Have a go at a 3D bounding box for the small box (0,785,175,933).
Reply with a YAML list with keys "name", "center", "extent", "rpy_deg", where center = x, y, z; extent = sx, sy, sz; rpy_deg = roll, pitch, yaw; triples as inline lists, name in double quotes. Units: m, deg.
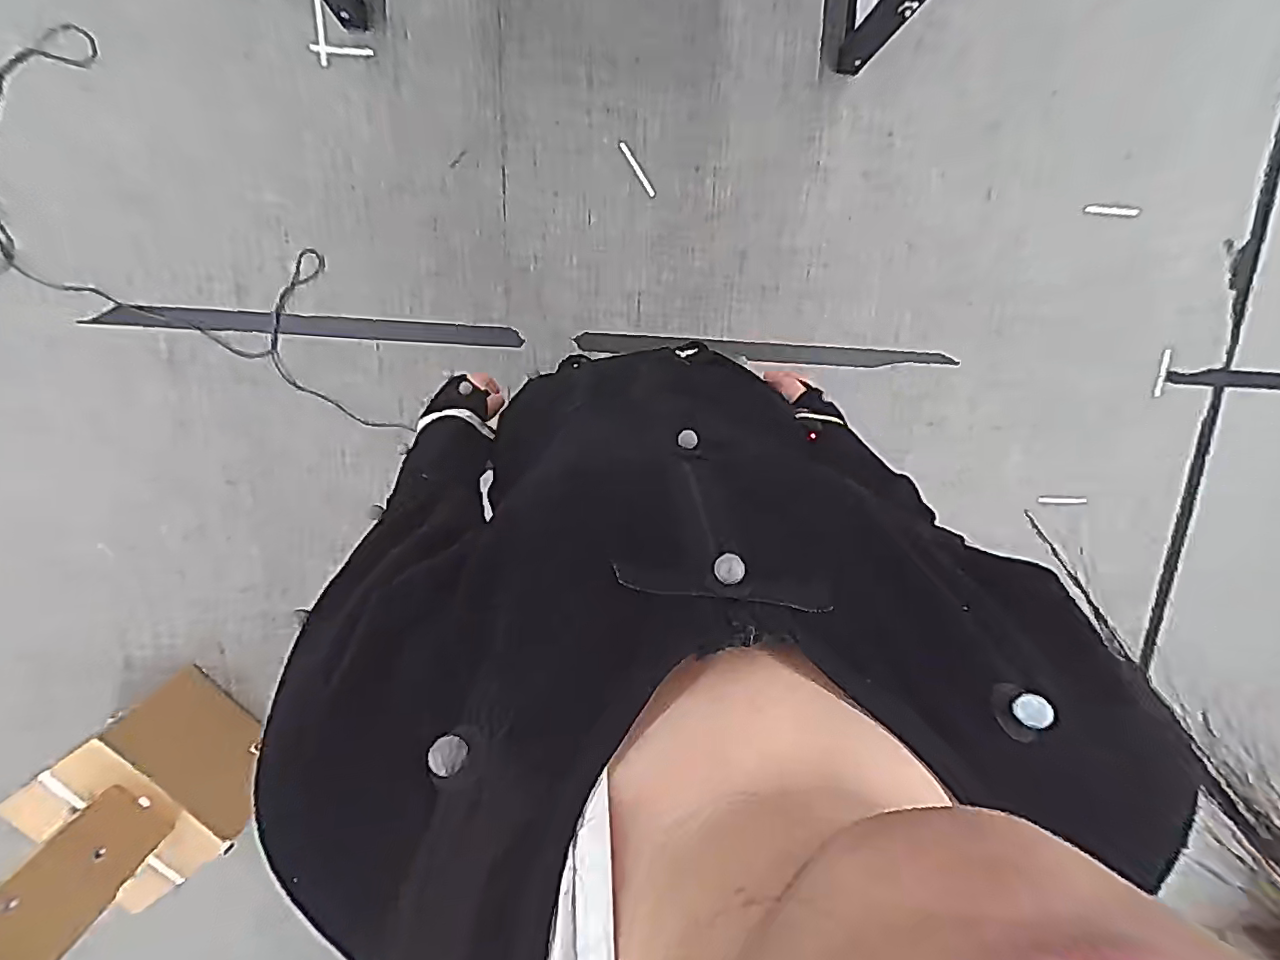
- name: "small box"
  center: [-1.201, 0.825, 1.192]
  extent: [0.168, 0.176, 0.179]
  rpy_deg: [-39, 102, 3]
